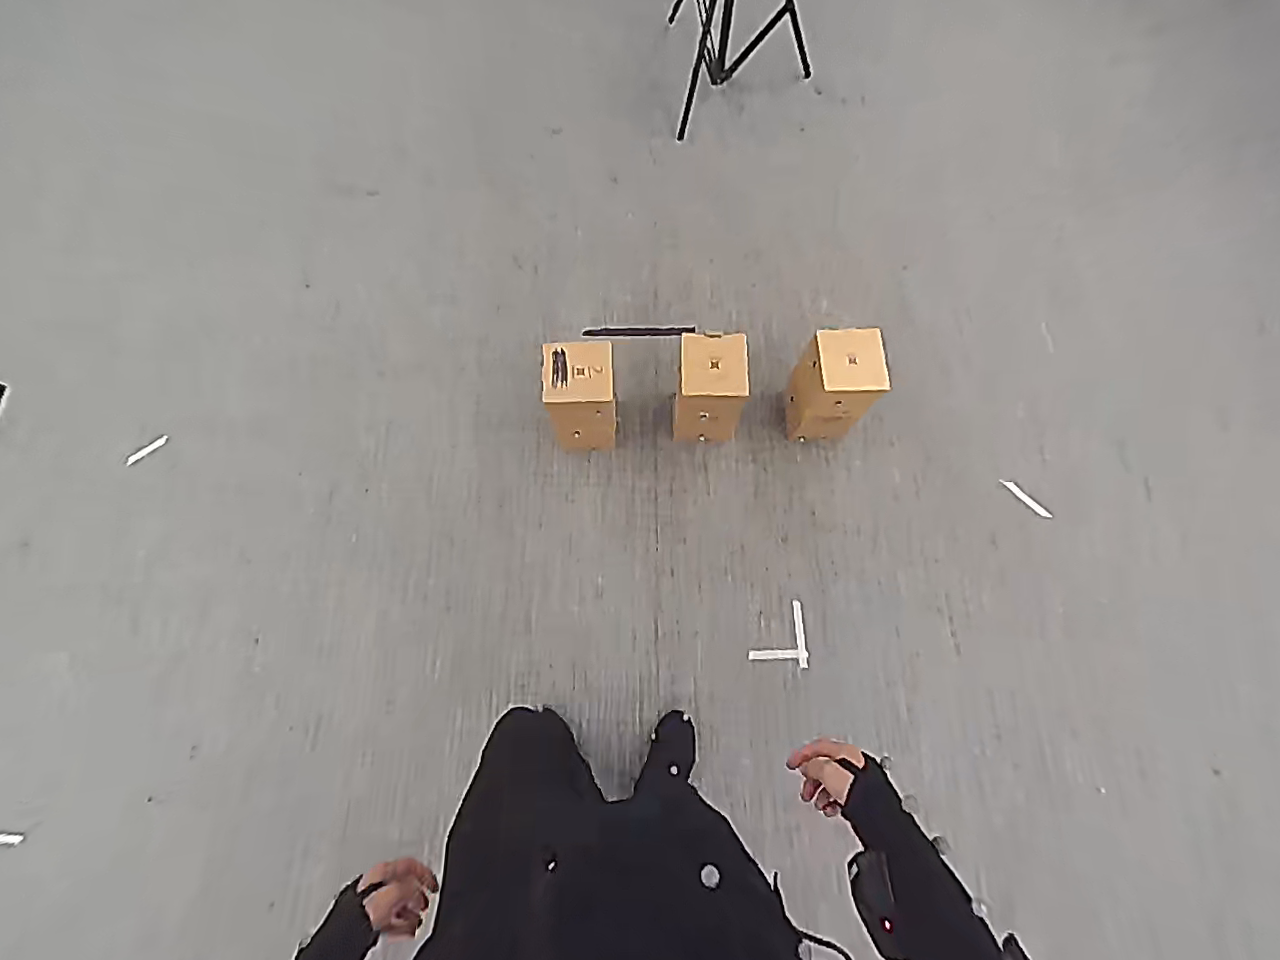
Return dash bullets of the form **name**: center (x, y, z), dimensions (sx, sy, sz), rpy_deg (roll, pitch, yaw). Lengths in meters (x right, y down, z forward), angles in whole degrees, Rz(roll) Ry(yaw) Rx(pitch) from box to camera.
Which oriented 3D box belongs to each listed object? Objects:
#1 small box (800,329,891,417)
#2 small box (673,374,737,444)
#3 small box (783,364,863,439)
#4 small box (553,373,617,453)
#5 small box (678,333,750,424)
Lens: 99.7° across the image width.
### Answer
- **small box**: center (0.528, -0.272, 1.413), dimensions (0.168, 0.176, 0.179), rpy_deg (-1, 72, -1)
- **small box**: center (0.183, -0.217, 1.562), dimensions (0.168, 0.176, 0.179), rpy_deg (1, 73, 0)
- **small box**: center (0.523, -0.222, 1.567), dimensions (0.168, 0.176, 0.179), rpy_deg (-2, 72, -1)
- **small box**: center (-0.154, -0.190, 1.553), dimensions (0.168, 0.176, 0.179), rpy_deg (0, 72, 0)
- **small box**: center (0.186, -0.260, 1.403), dimensions (0.168, 0.176, 0.179), rpy_deg (1, 72, 0)
